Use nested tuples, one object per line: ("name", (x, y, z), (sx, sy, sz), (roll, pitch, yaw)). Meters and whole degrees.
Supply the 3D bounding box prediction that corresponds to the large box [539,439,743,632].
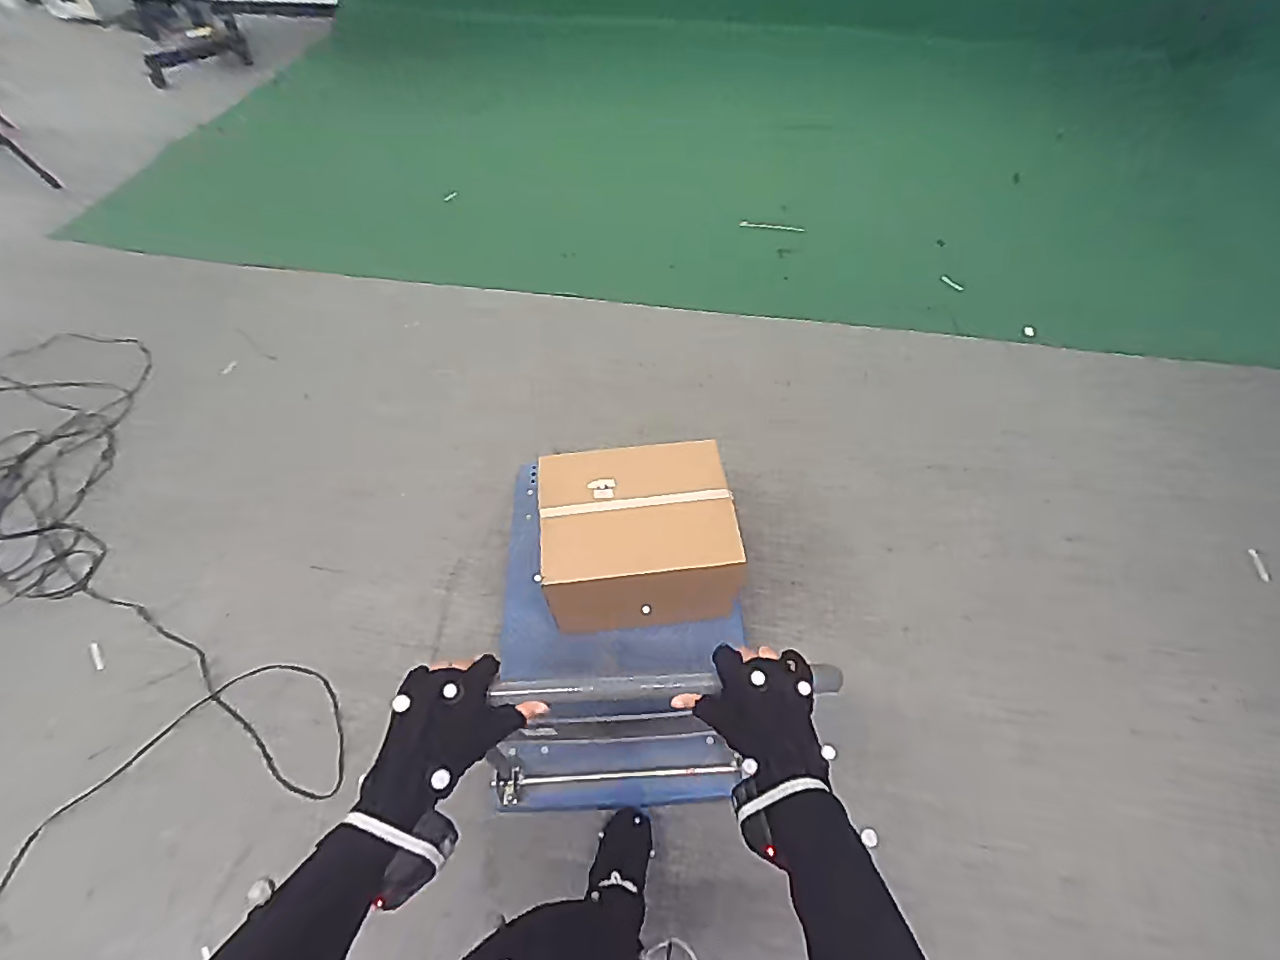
("large box", (-0.004, 0.140, 1.275), (0.408, 0.320, 0.320), (-8, 56, -3))
